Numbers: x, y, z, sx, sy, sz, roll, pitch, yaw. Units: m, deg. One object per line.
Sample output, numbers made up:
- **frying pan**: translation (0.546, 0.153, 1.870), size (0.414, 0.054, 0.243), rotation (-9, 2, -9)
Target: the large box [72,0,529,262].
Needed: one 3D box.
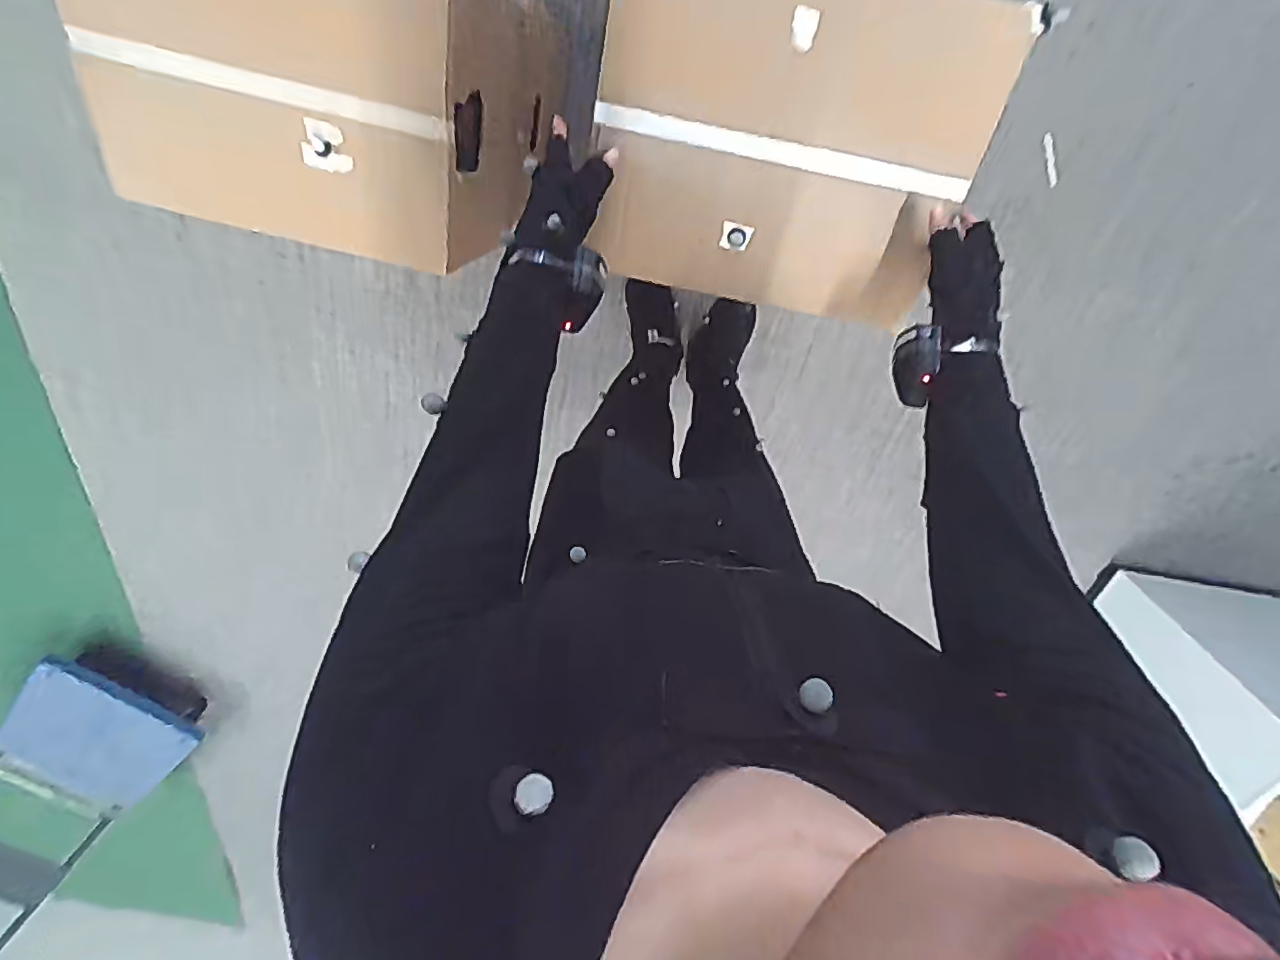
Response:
- **large box**: translation (-0.388, -0.509, 0.705), size (0.408, 0.320, 0.320), rotation (12, 122, -4)
